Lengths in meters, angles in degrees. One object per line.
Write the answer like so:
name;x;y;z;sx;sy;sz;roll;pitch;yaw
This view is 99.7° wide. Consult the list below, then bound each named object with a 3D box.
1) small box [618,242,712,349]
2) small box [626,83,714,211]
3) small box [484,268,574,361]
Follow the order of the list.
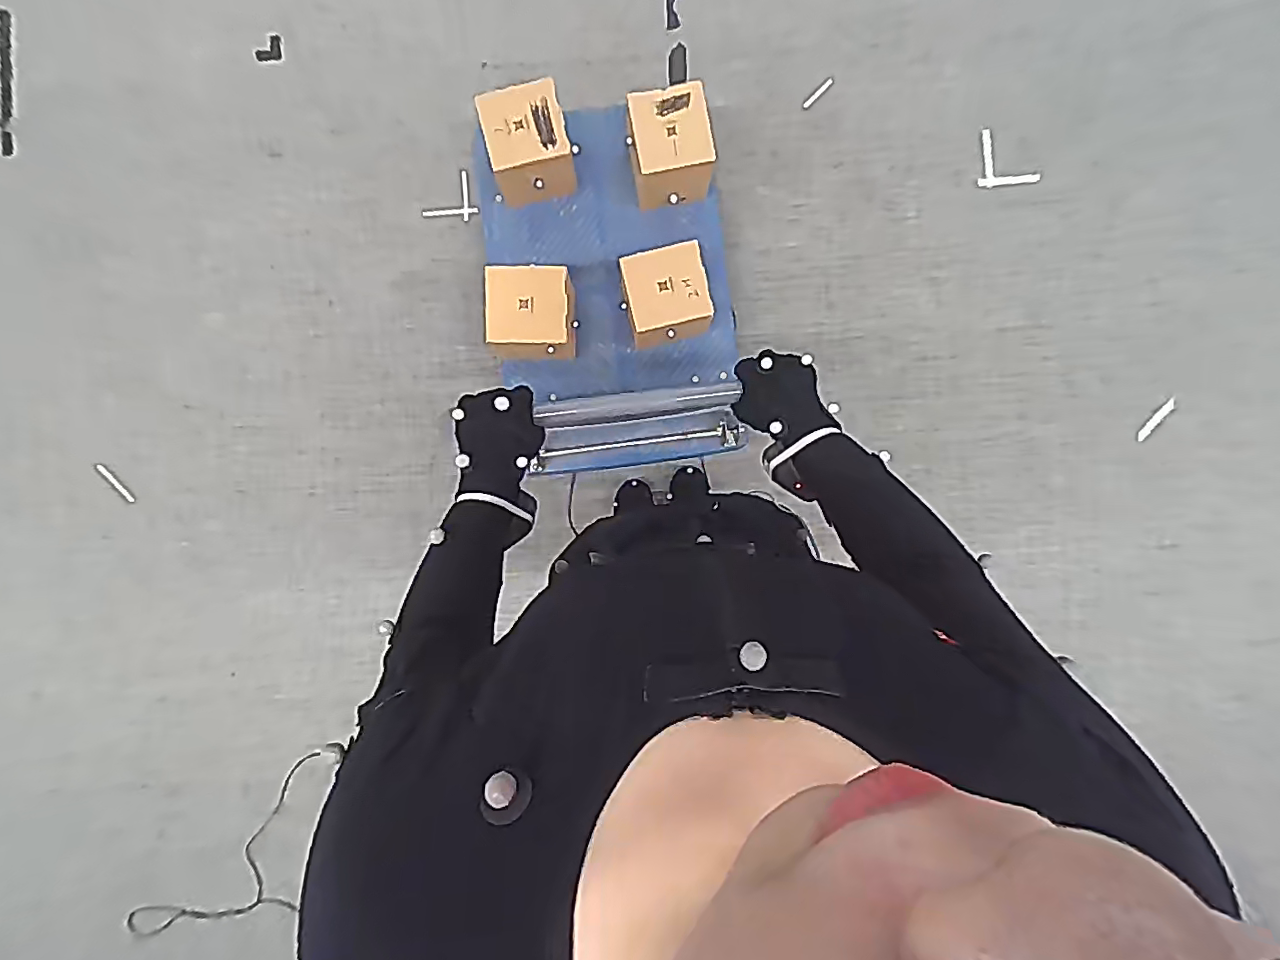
small box;0.054;-0.412;1.236;0.179;0.176;0.168;-13;91;0
small box;0.063;-0.749;1.231;0.168;0.176;0.179;-11;92;0
small box;-0.247;-0.371;1.236;0.179;0.176;0.168;-1;90;-2
